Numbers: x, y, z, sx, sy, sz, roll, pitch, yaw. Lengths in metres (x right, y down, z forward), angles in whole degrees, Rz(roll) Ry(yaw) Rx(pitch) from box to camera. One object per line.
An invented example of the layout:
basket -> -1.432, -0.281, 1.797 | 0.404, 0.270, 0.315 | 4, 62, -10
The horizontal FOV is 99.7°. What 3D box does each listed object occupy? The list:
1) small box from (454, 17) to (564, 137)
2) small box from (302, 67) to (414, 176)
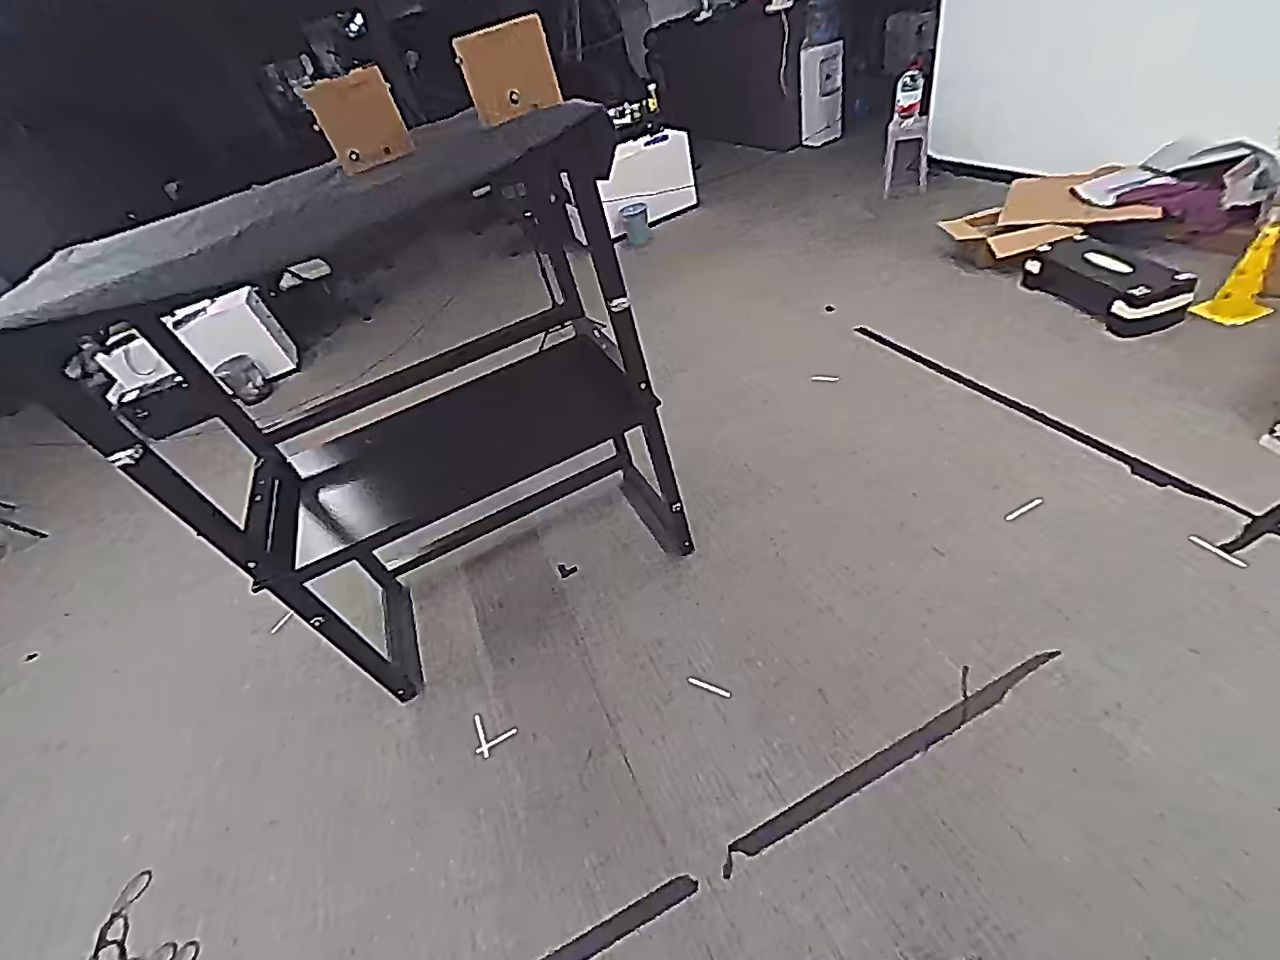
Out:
small box -> -0.279, -0.857, 1.157 | 0.168, 0.176, 0.179 | -23, 42, -6
small box -> -0.641, -0.819, 1.240 | 0.168, 0.176, 0.179 | -28, 42, -11
